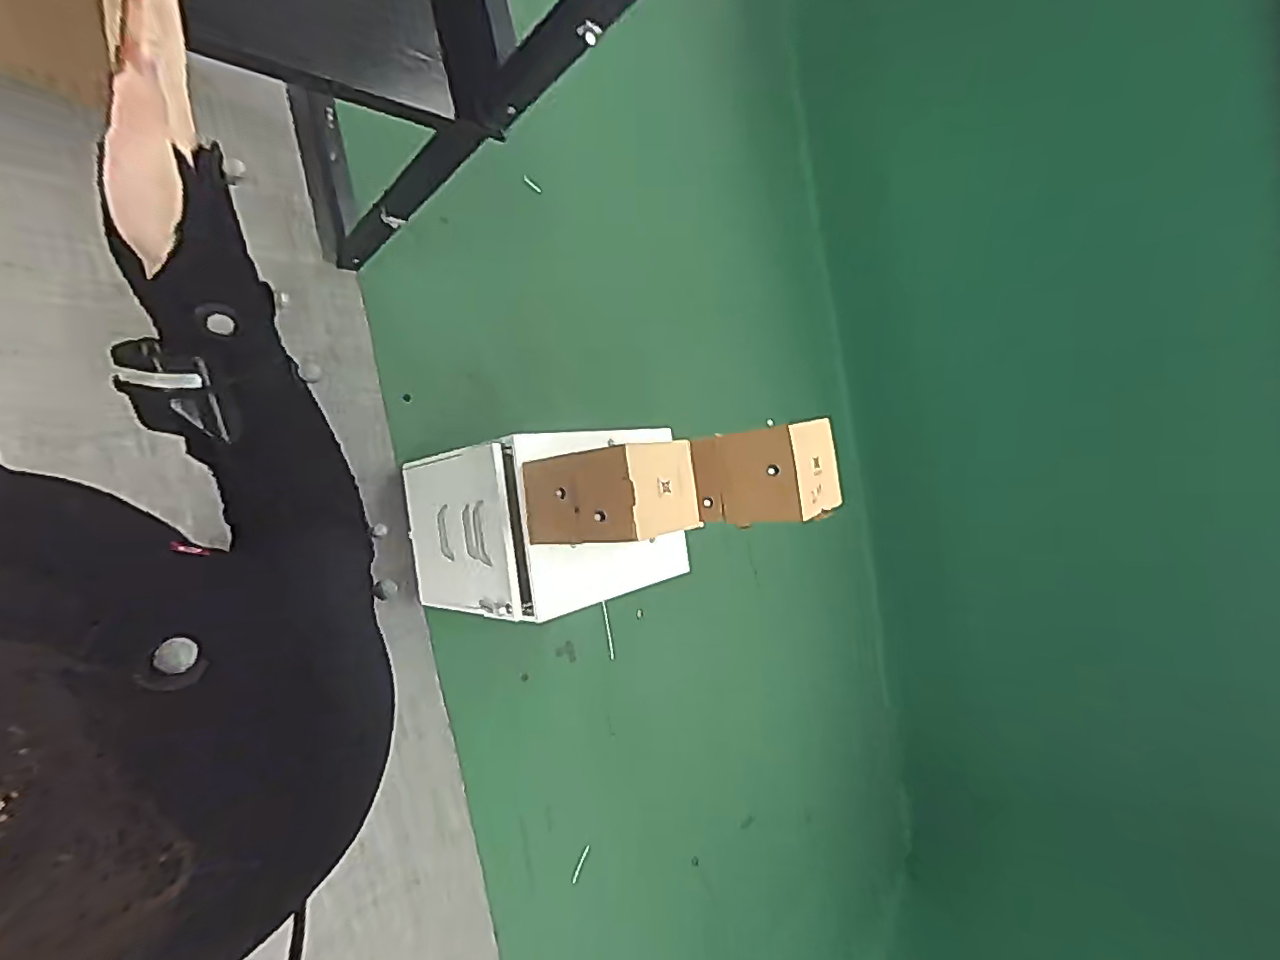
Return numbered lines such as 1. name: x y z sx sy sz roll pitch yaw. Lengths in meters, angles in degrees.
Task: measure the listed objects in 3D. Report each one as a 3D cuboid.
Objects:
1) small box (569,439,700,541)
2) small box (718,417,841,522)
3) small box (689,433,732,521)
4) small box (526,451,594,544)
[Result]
1. small box: -0.016 0.018 0.993 0.179 0.176 0.168 -9 92 -47
2. small box: 0.269 -0.019 1.058 0.168 0.176 0.179 -14 96 -45
3. small box: 0.155 -0.002 1.176 0.168 0.176 0.179 -3 89 -47
4. small box: -0.120 0.036 1.117 0.168 0.176 0.179 -4 89 -47
